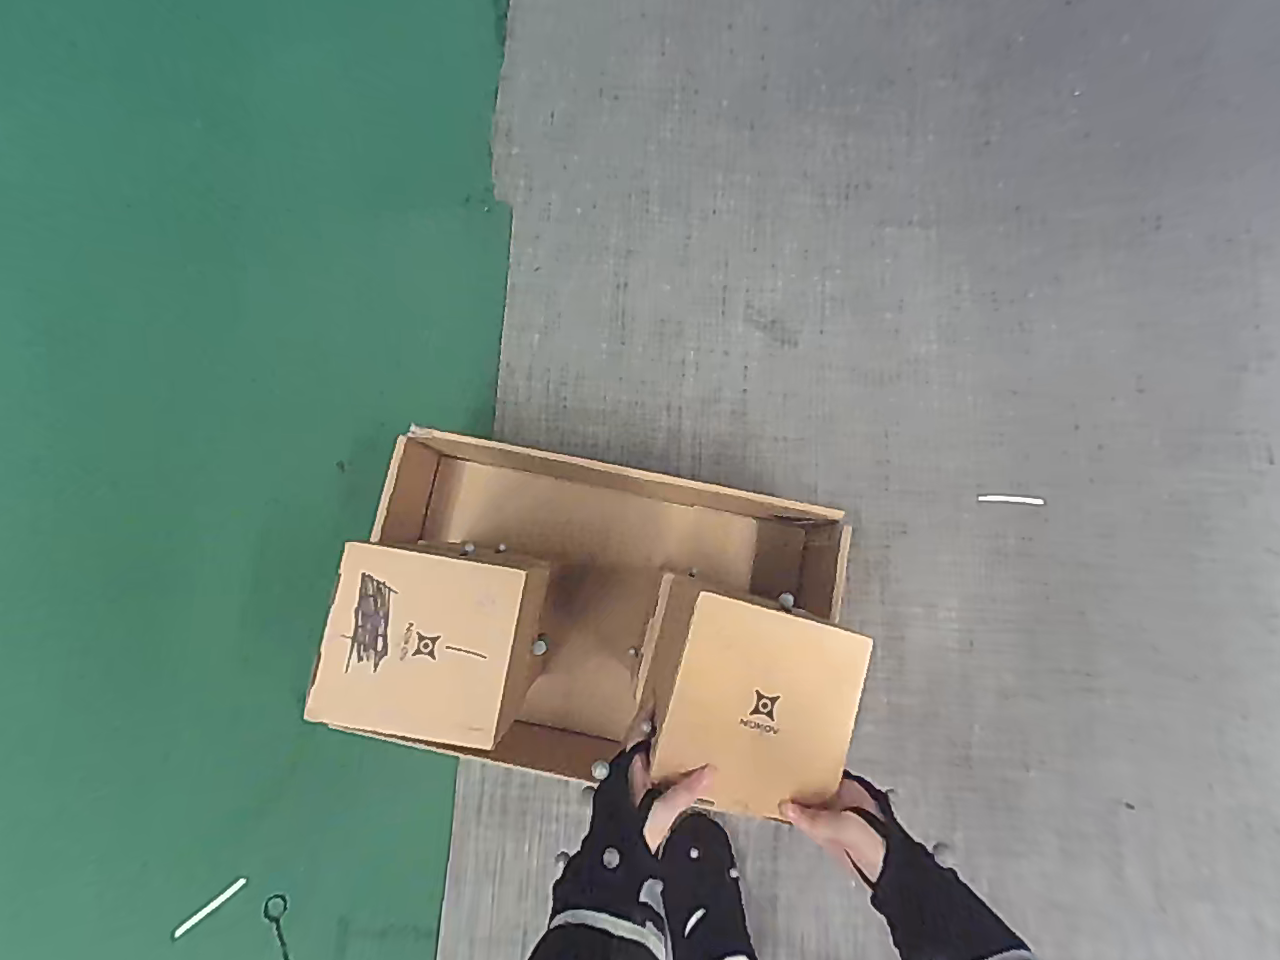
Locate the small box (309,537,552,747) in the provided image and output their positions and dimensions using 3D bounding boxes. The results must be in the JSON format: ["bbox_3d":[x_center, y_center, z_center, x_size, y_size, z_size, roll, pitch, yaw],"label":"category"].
[{"bbox_3d":[-0.203,0.160,0.579,0.179,0.176,0.168,10,82,-1],"label":"small box"}]

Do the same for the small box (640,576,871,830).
[{"bbox_3d":[0.102,0.207,0.555,0.168,0.176,0.179,17,85,-3],"label":"small box"}]
